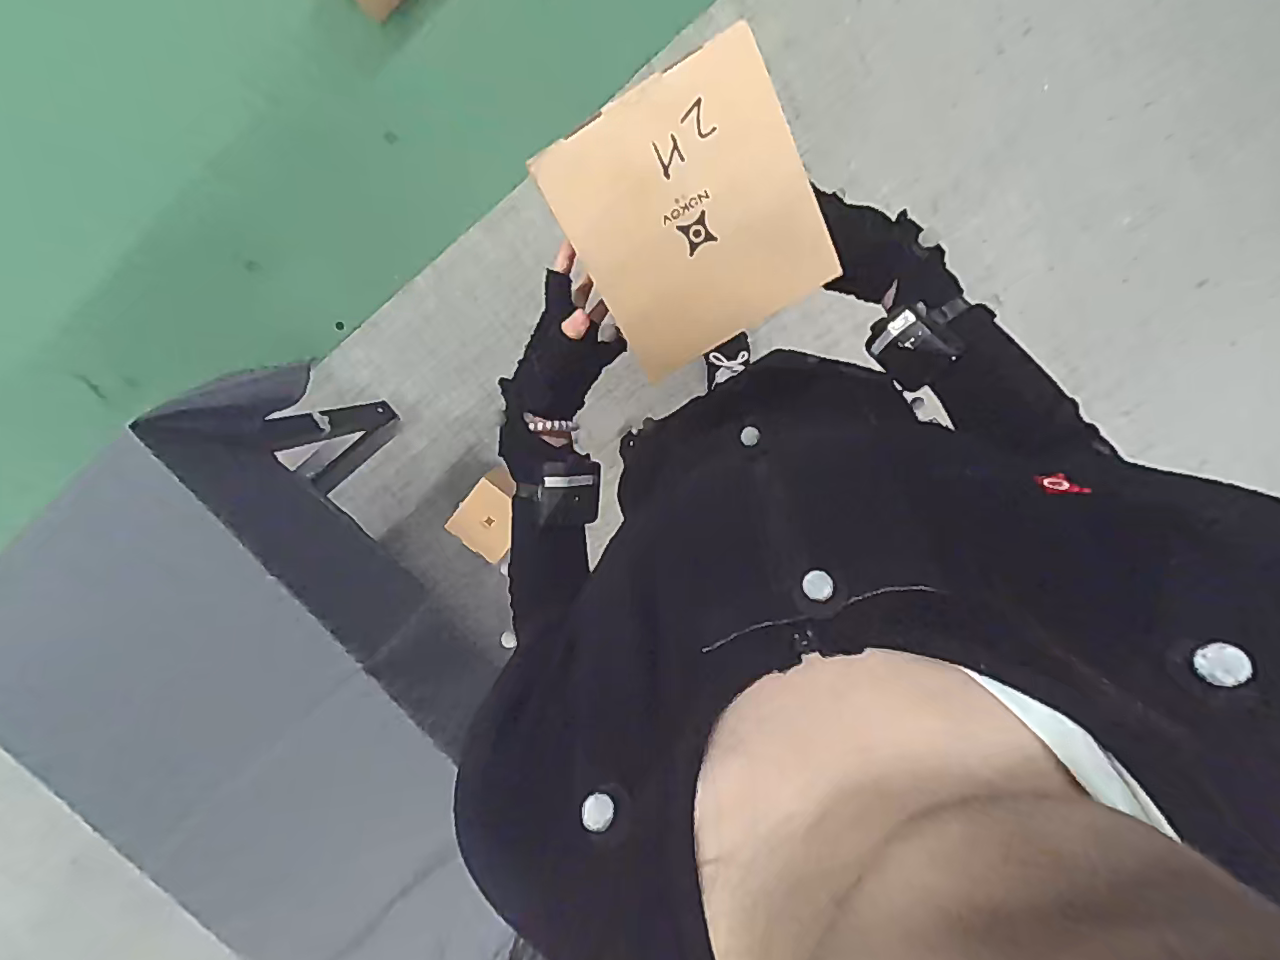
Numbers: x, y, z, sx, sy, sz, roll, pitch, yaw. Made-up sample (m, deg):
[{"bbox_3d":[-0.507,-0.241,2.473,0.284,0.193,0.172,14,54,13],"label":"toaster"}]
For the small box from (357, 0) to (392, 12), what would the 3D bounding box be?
[{"bbox_3d":[-0.614,-1.173,1.168,0.168,0.176,0.179,-38,100,10],"label":"small box"}]

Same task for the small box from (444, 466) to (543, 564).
[{"bbox_3d":[-0.382,0.088,1.450,0.168,0.176,0.179,40,103,-7],"label":"small box"}]
